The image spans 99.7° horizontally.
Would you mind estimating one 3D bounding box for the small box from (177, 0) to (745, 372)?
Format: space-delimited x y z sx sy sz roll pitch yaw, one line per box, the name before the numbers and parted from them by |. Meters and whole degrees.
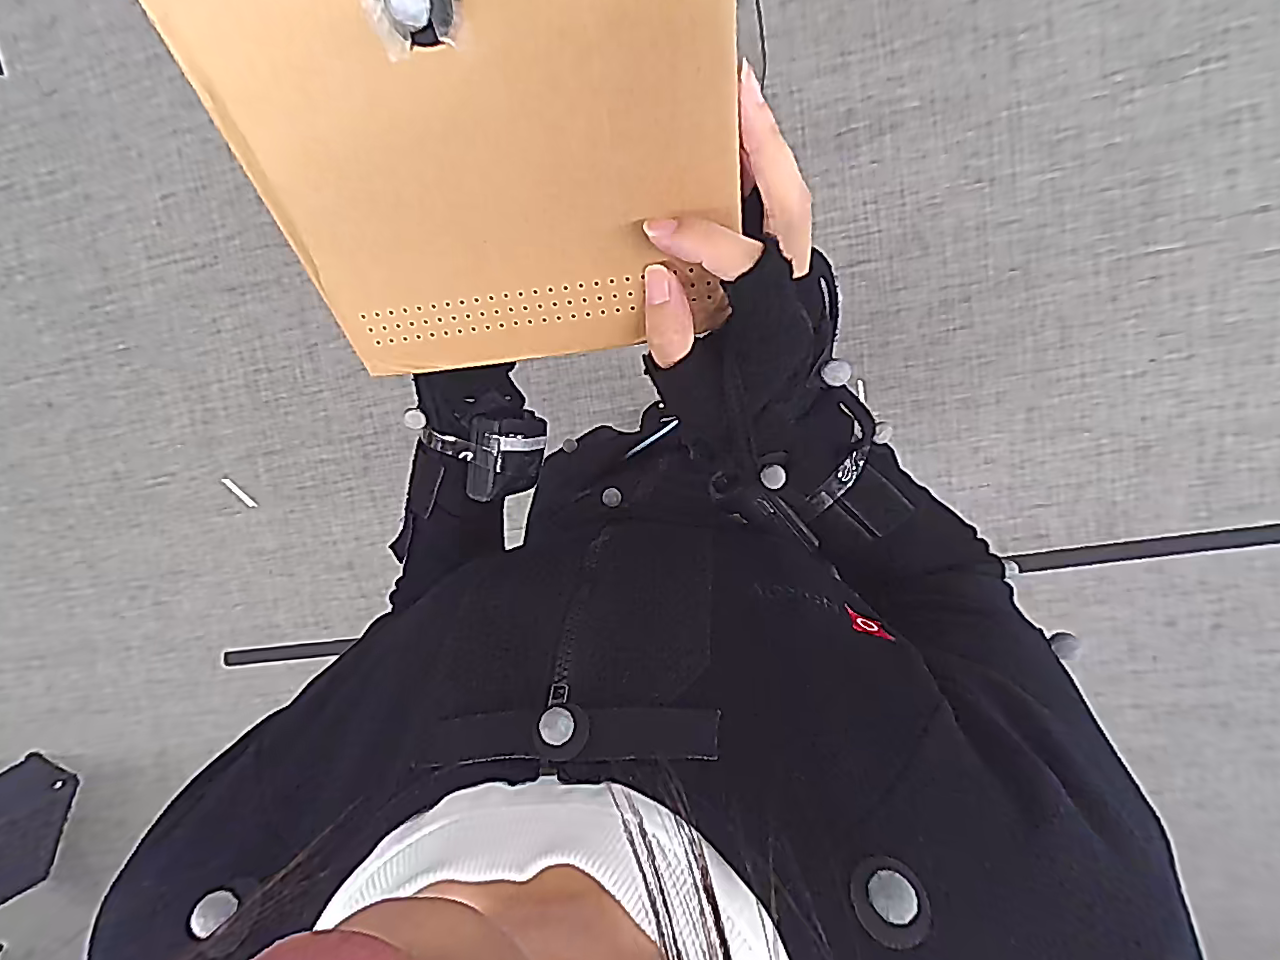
small box | -0.049 -0.165 0.247 0.179 0.168 0.176 -5 137 8
